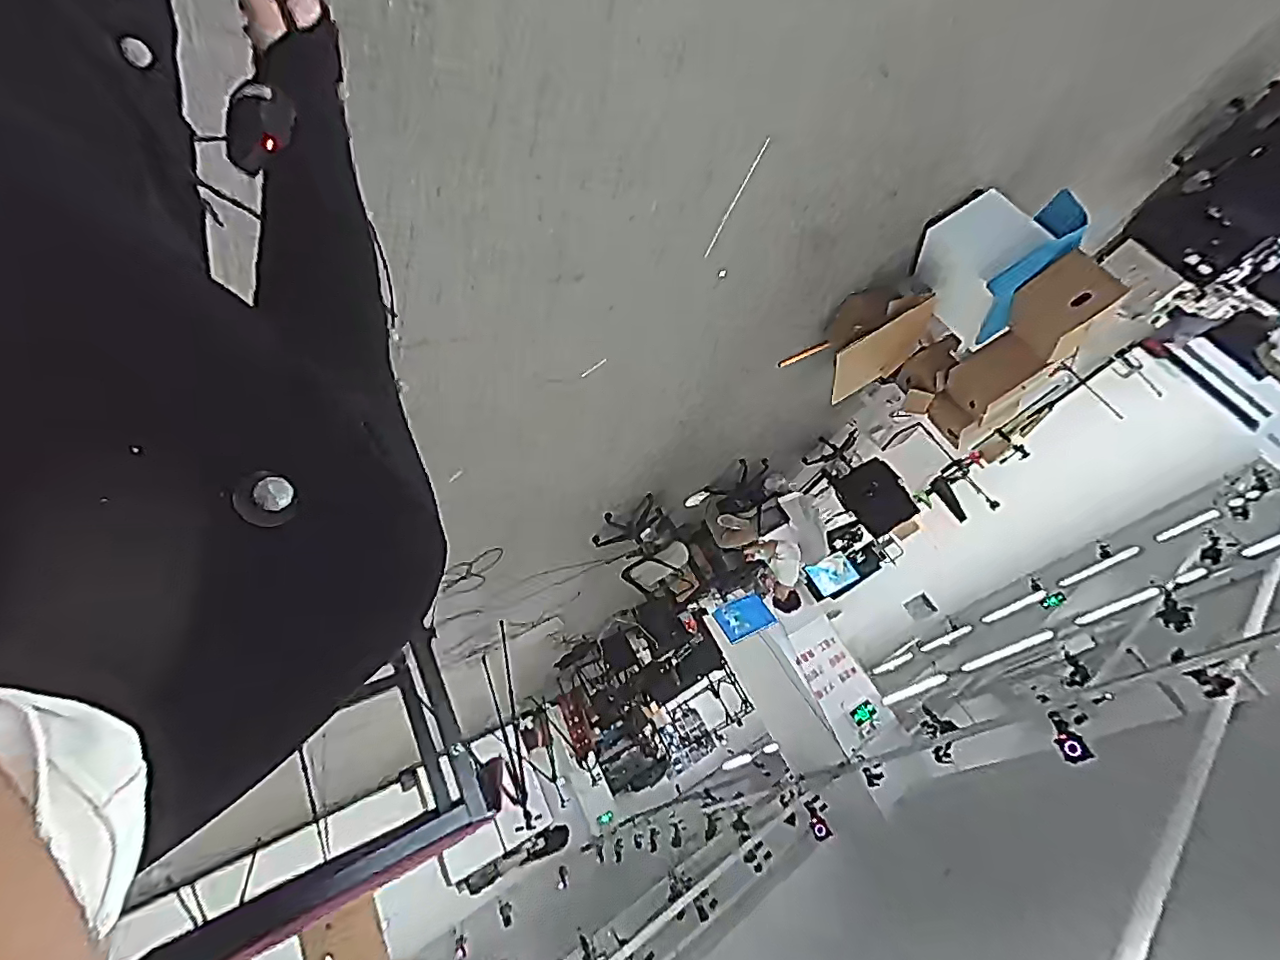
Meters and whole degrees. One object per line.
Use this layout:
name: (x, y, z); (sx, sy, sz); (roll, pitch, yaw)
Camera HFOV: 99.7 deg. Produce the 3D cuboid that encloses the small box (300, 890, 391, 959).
small box: (-0.739, 1.163, 1.352); (0.168, 0.176, 0.179); (-12, 152, -37)
